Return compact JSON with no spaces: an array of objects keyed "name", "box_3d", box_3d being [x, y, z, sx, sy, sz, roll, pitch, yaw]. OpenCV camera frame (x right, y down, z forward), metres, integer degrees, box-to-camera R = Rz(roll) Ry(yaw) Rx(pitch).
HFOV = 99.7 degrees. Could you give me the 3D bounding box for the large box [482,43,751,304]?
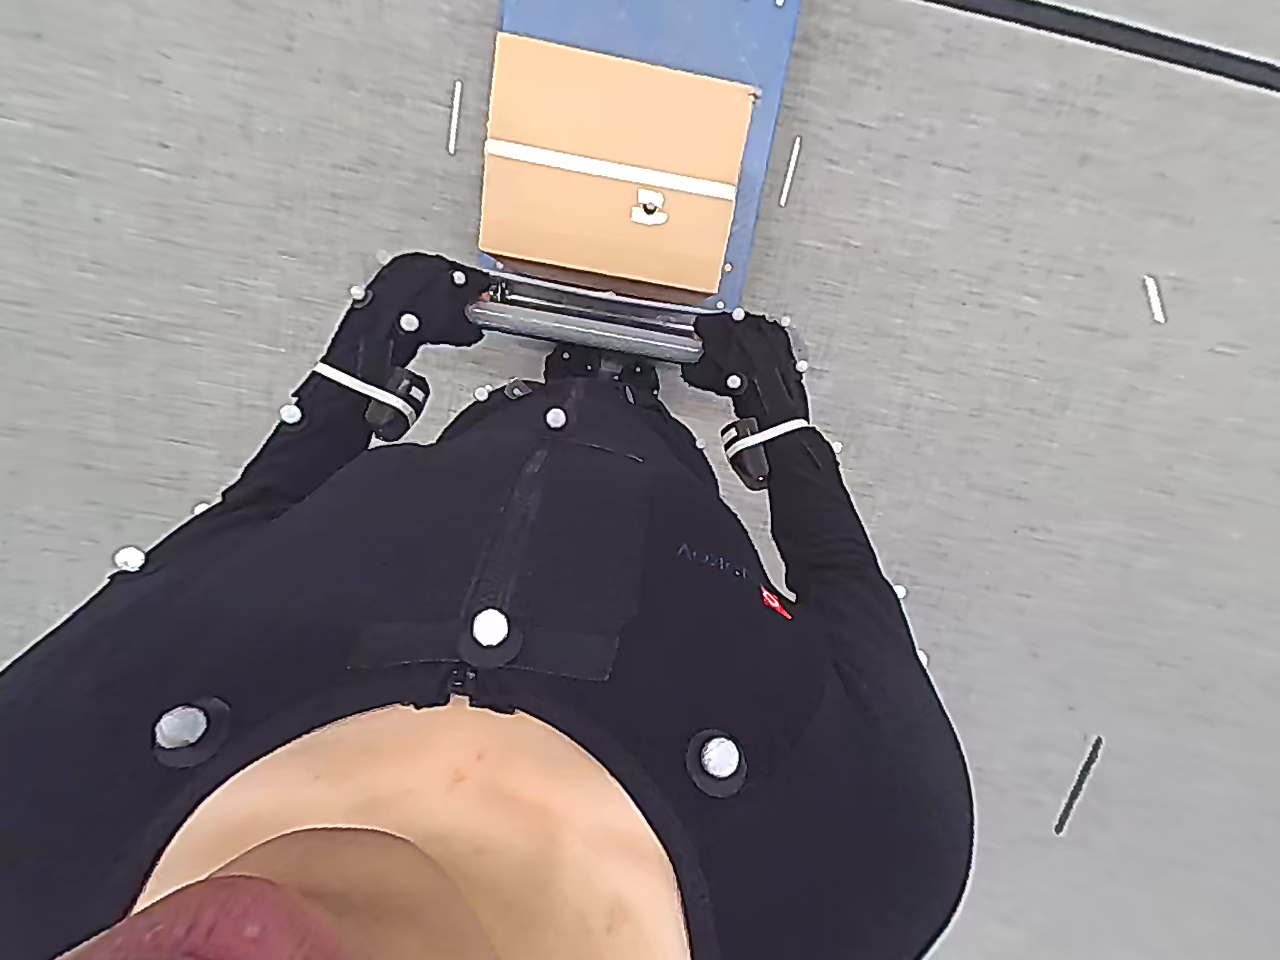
[{"name":"large box","box_3d":[-0.052,-0.524,1.007,0.408,0.320,0.320,8,105,-5]}]
